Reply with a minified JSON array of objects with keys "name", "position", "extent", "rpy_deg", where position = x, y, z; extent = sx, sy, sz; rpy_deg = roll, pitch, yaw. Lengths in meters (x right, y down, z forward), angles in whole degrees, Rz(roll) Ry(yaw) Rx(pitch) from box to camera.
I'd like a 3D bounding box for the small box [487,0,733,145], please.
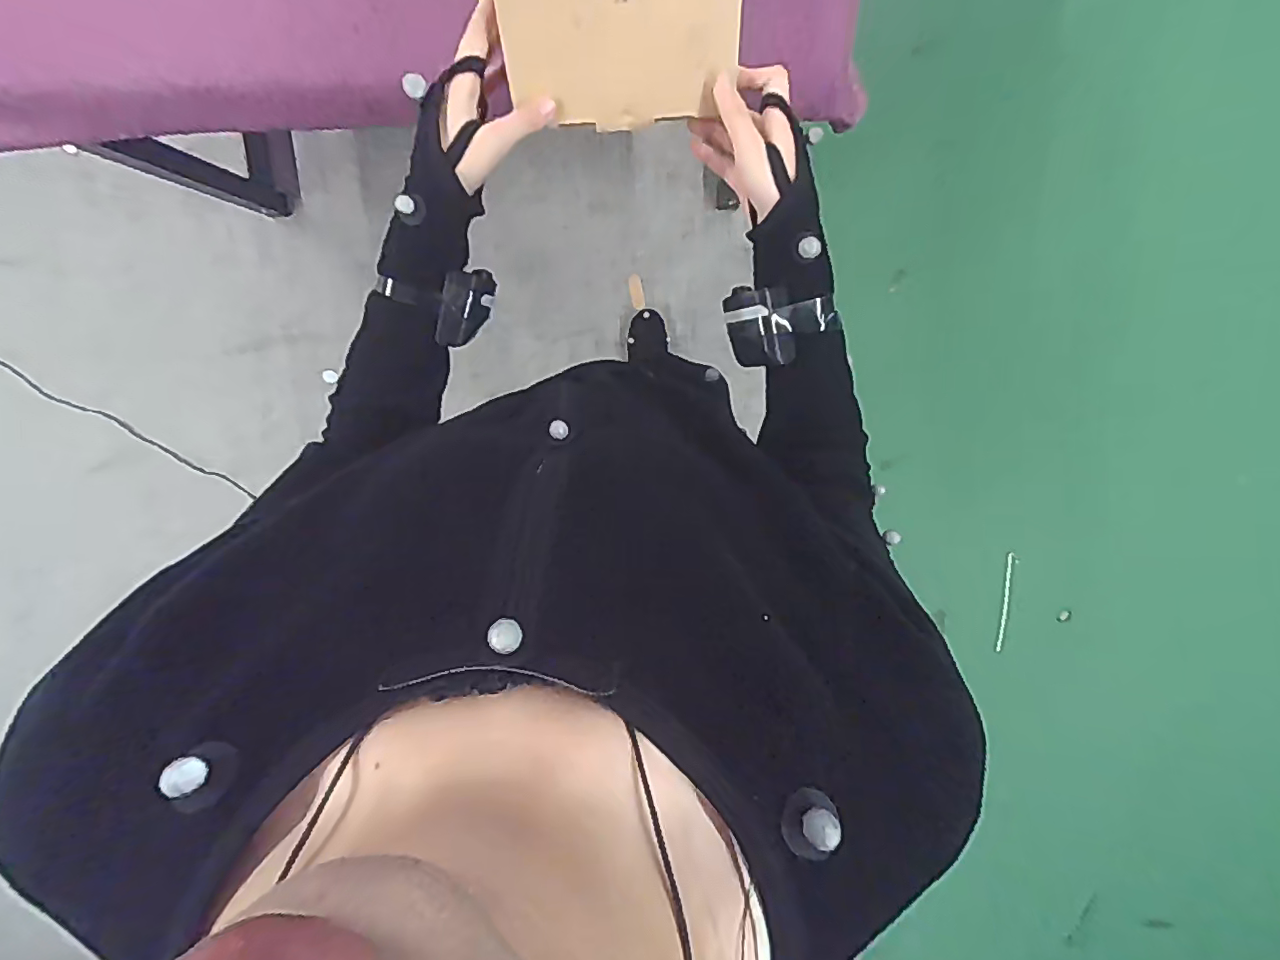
[{"name":"small box","position":[-0.023,-0.377,0.406],"extent":[0.168,0.176,0.179],"rpy_deg":[-4,135,0]}]
